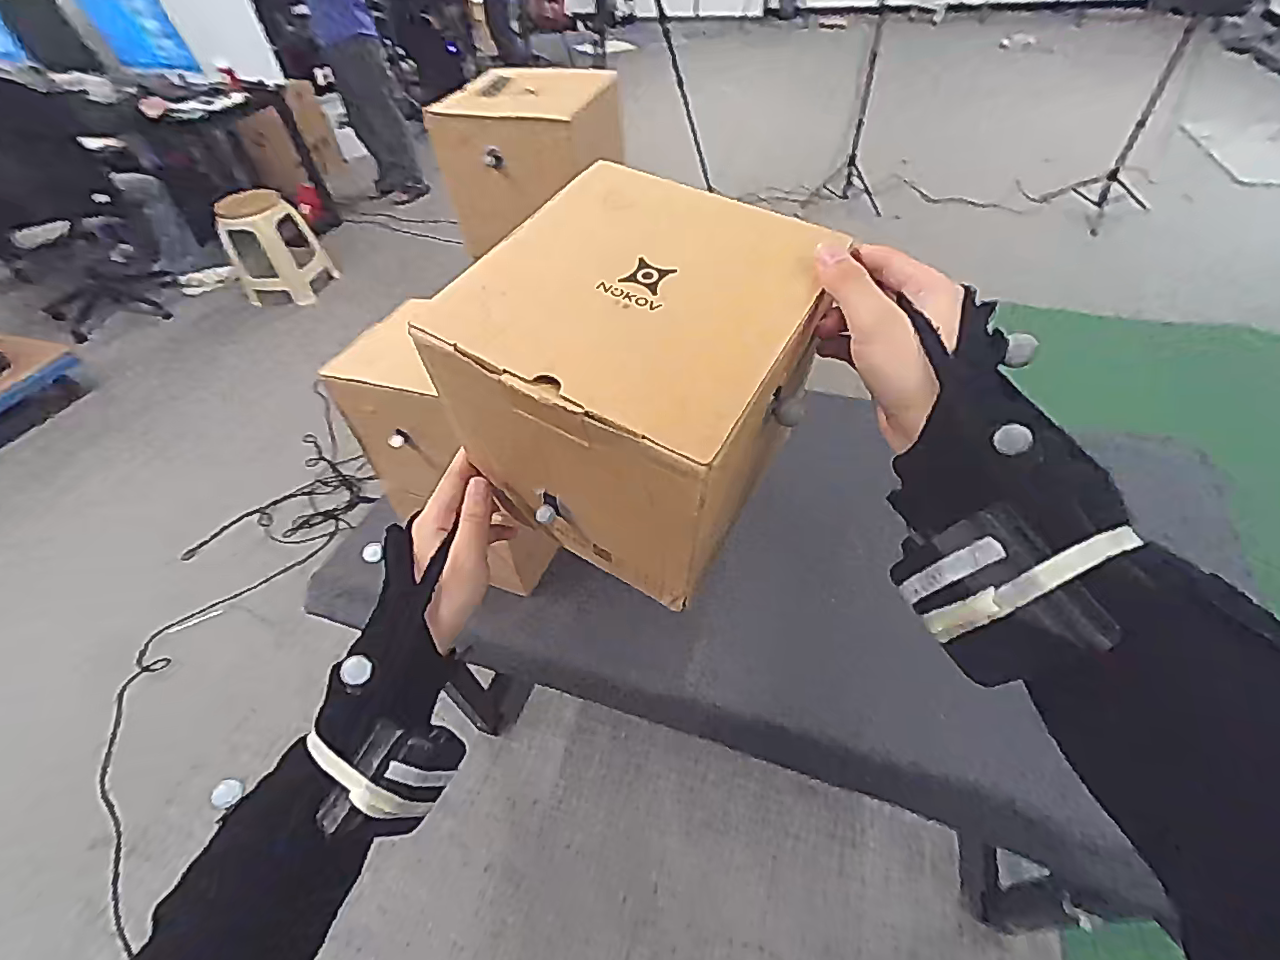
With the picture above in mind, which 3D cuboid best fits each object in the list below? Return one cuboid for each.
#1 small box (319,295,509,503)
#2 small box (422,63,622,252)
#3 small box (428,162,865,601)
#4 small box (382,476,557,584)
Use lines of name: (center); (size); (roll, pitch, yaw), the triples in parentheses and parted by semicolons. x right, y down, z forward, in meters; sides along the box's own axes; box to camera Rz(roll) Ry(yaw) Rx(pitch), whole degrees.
small box: (-0.216, -0.094, 0.633); (0.179, 0.176, 0.168); (11, 49, 14)
small box: (-0.130, -0.398, 0.680); (0.179, 0.176, 0.168); (12, 53, 13)
small box: (0.009, -0.056, 0.341); (0.168, 0.176, 0.179); (27, 63, 16)
small box: (-0.207, 0.021, 0.749); (0.179, 0.176, 0.168); (15, 49, 16)
